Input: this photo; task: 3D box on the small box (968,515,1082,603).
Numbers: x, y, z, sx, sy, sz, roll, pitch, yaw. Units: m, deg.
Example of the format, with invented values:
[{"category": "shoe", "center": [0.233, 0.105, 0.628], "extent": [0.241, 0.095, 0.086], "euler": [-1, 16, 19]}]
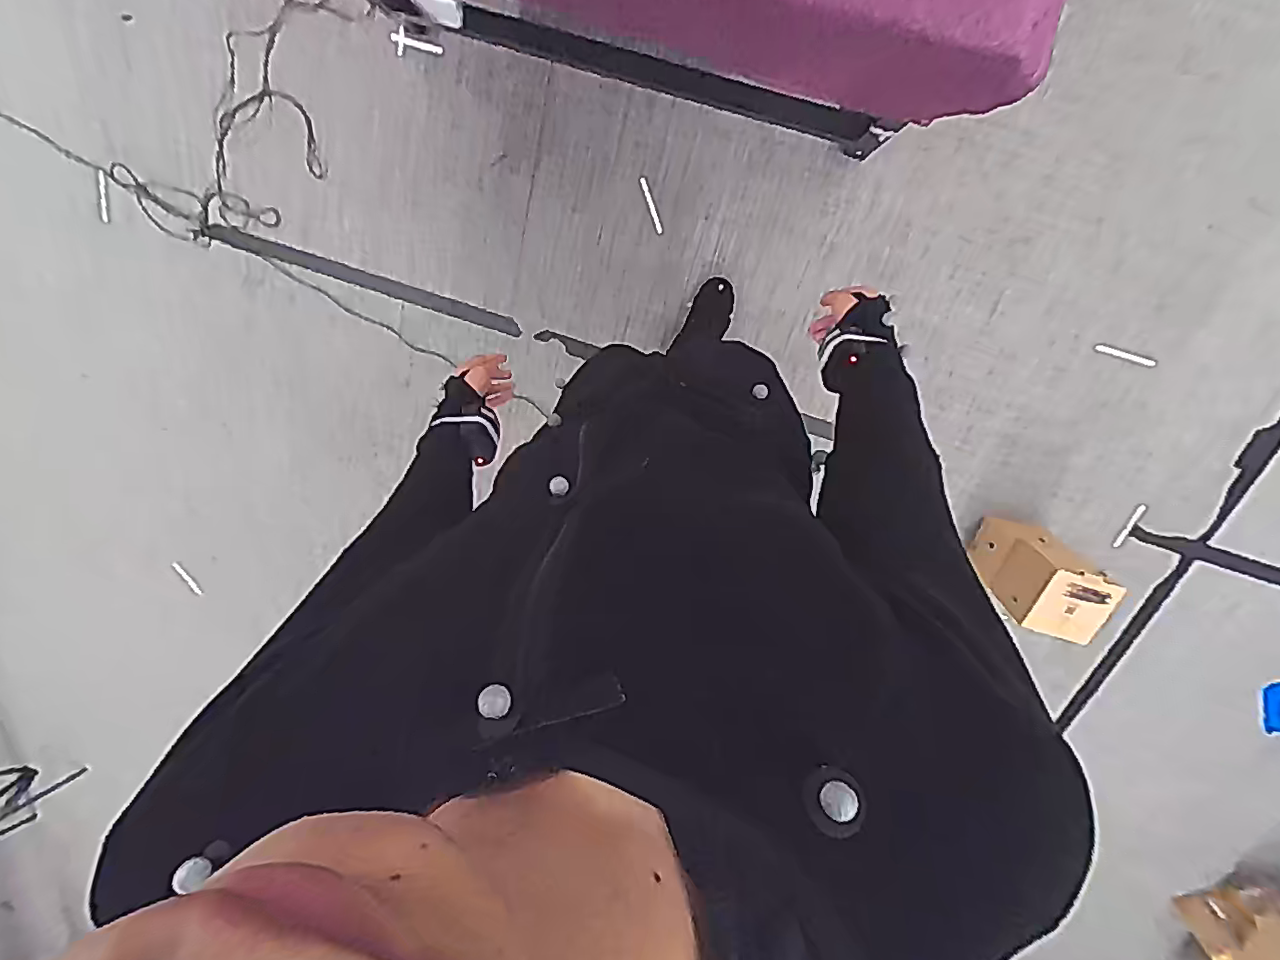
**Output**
[{"category": "small box", "center": [1.060, 0.213, 1.511], "extent": [0.179, 0.176, 0.168], "euler": [13, 112, 3]}]
